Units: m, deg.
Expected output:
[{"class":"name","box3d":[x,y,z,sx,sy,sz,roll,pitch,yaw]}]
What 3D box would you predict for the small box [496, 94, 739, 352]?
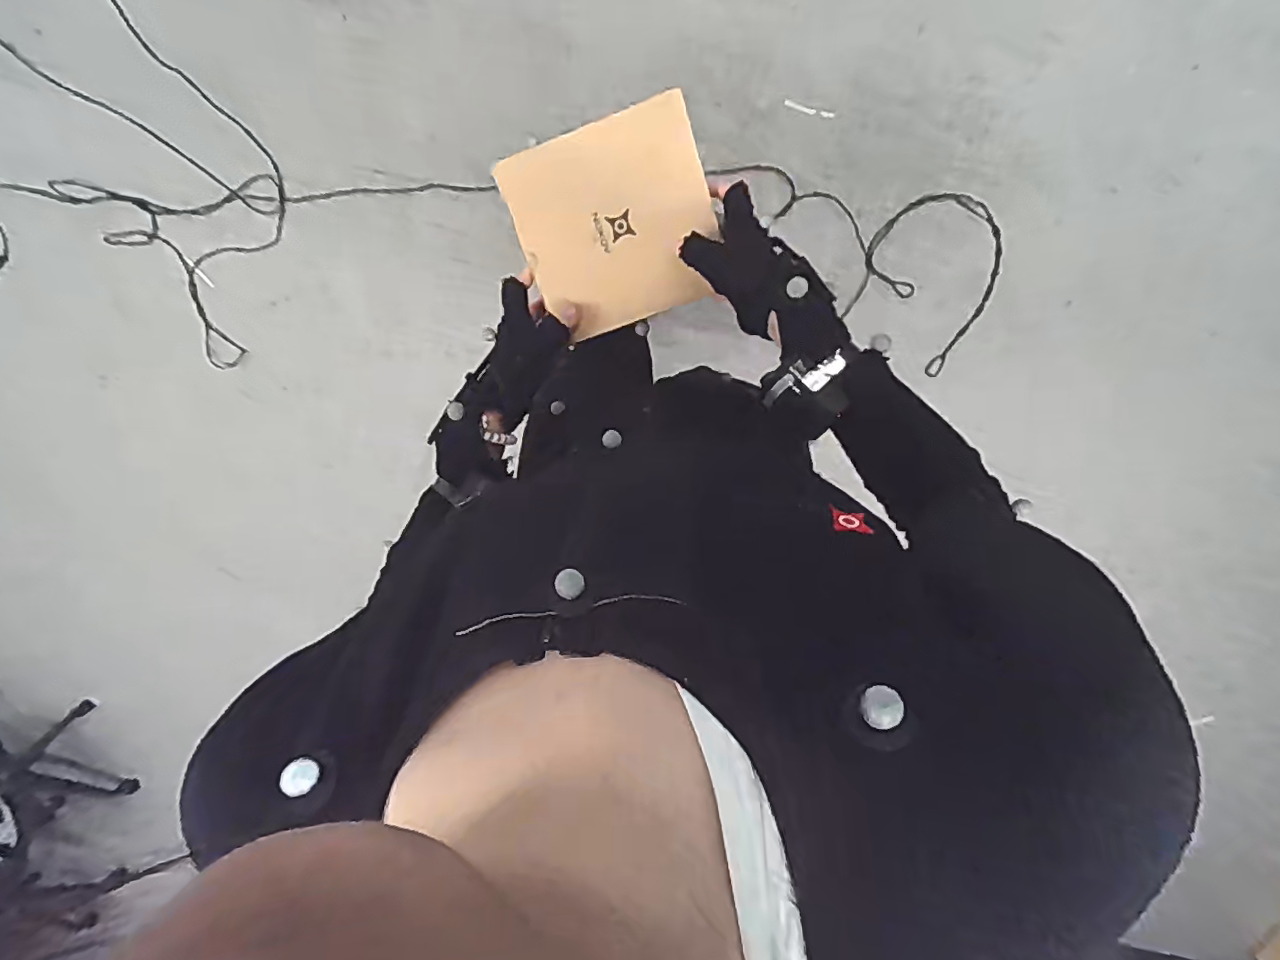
[{"class":"small box","box3d":[-0.015,-0.247,0.549,0.179,0.176,0.168,-18,109,9]}]
